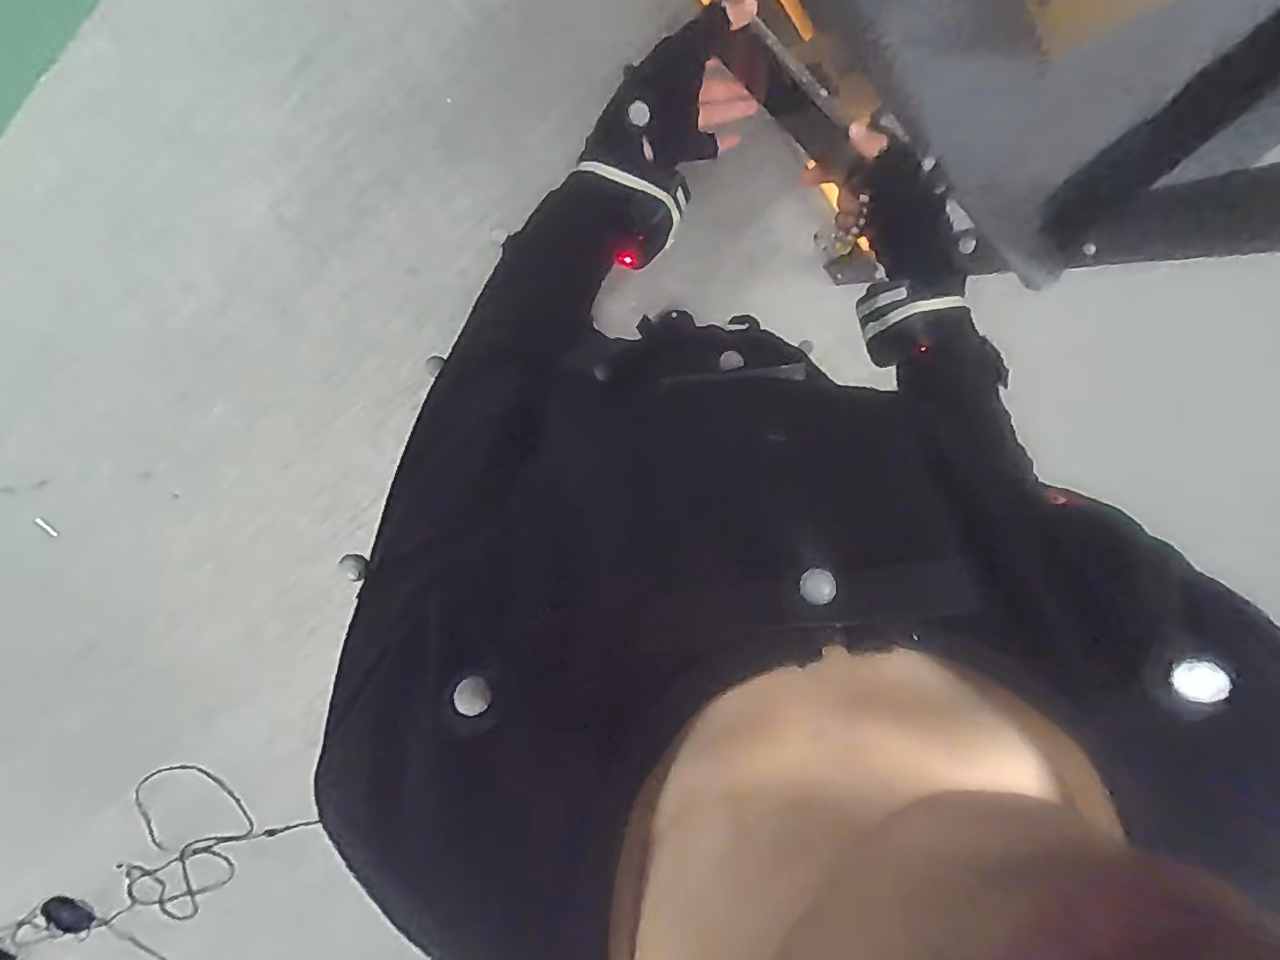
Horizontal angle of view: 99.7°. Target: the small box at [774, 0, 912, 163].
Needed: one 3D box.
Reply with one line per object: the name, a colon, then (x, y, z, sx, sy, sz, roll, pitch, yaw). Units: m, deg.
small box: (0.378, -0.756, 1.047, 0.179, 0.176, 0.168, -35, 105, 11)
